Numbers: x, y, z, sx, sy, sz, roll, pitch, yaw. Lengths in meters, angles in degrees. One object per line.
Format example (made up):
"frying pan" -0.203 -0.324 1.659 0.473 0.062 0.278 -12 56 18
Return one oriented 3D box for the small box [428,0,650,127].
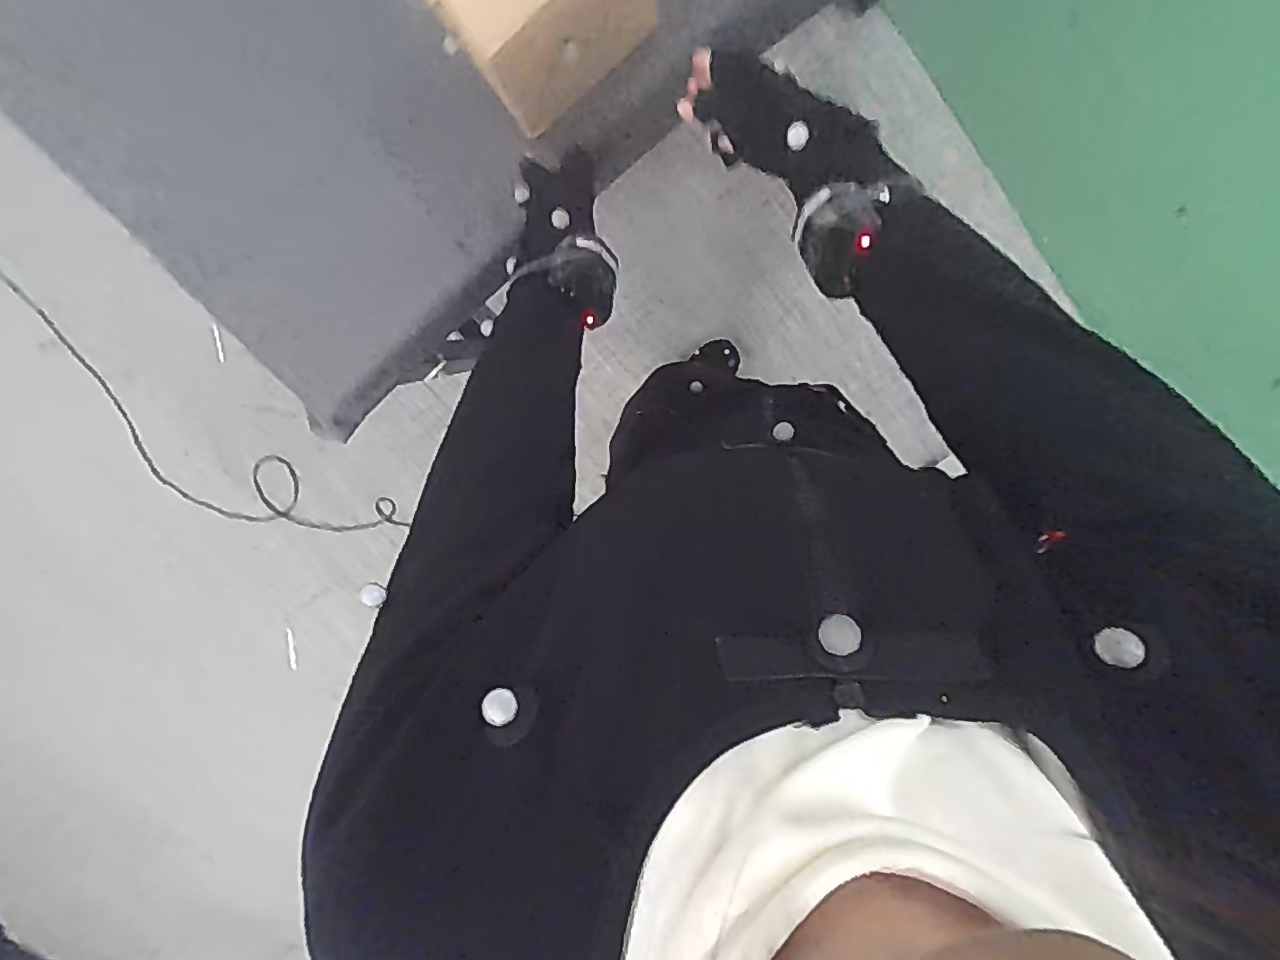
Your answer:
"small box" -0.105 -0.469 0.487 0.179 0.176 0.168 -37 99 12
